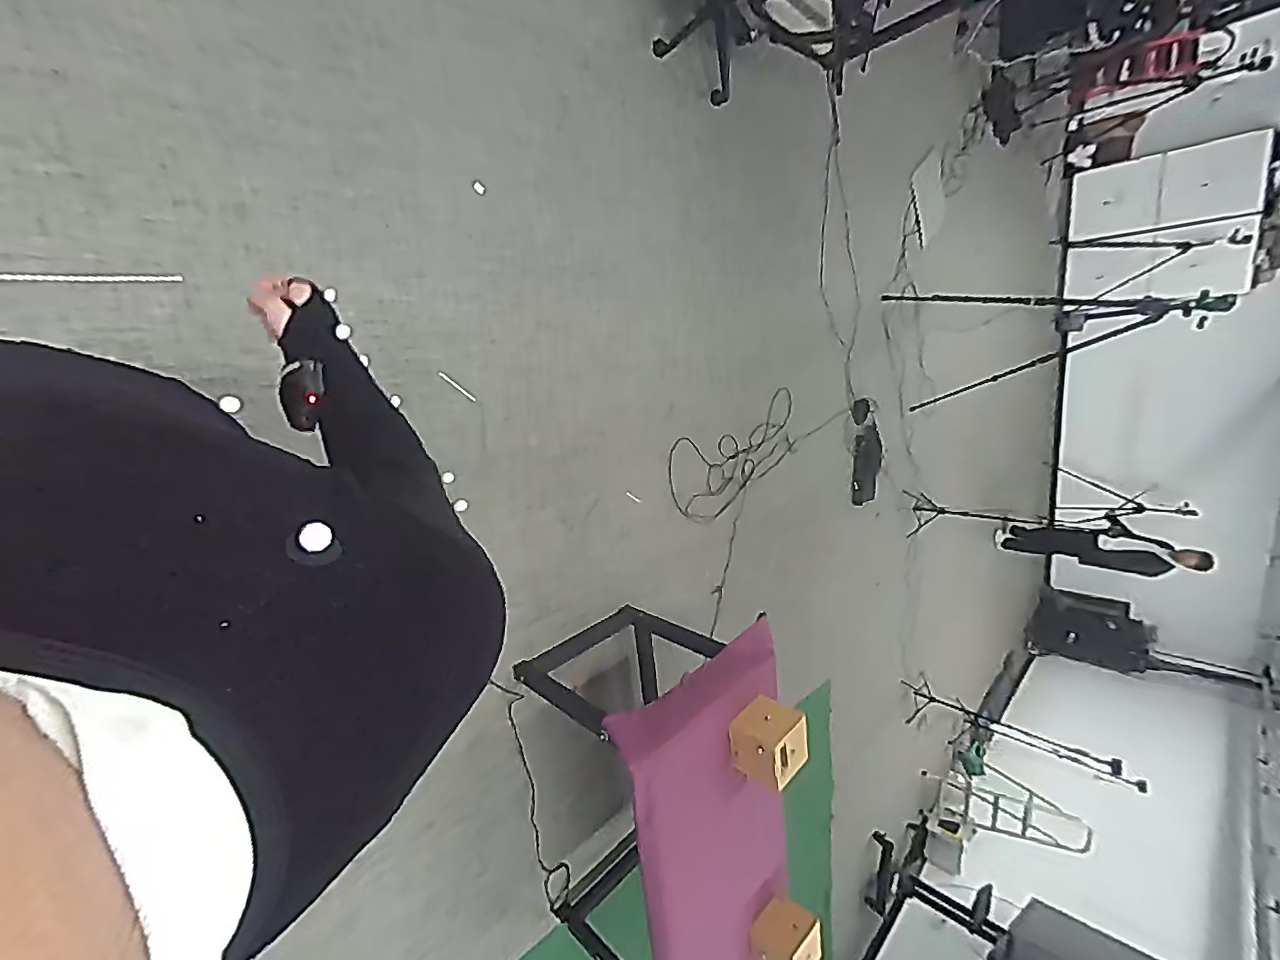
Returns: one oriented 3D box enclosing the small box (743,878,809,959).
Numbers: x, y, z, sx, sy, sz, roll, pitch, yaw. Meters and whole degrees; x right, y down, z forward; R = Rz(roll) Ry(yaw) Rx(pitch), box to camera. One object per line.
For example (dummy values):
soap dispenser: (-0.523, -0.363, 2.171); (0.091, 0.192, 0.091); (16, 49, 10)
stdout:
small box: (0.486, 1.587, 1.933); (0.179, 0.176, 0.168); (-16, 105, -41)
